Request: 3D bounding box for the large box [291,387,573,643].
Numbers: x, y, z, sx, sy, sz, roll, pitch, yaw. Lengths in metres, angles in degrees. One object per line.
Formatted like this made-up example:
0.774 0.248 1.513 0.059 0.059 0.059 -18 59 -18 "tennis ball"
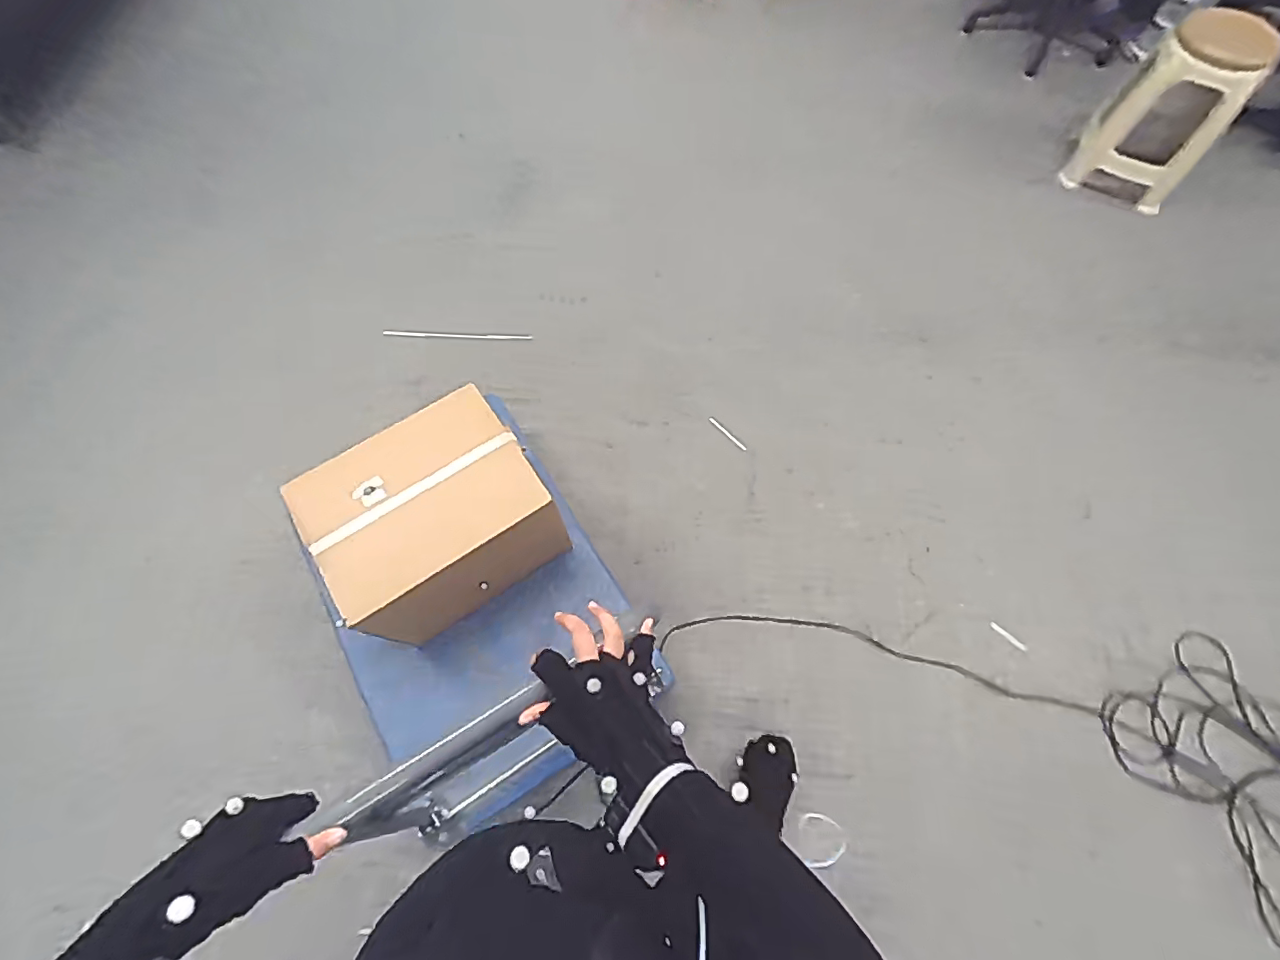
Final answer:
-0.403 0.086 1.139 0.408 0.320 0.320 -33 70 -12 "large box"
